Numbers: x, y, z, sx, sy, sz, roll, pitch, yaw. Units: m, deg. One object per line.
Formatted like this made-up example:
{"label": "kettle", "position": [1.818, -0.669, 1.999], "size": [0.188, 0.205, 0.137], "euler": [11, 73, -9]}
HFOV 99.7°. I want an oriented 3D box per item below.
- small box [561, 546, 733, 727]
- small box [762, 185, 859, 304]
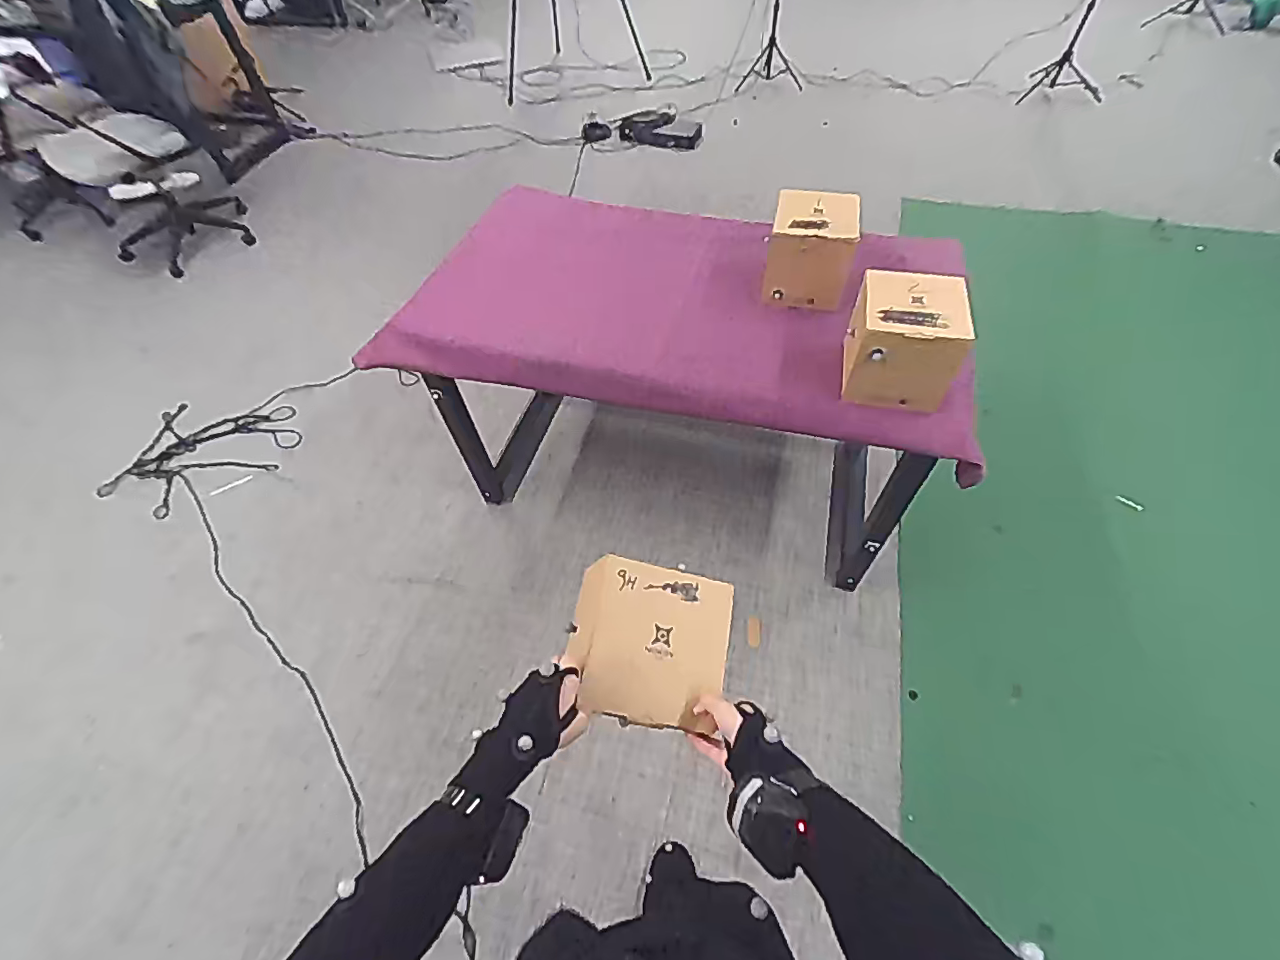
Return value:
{"label": "small box", "position": [0.000, 0.197, 0.696], "size": [0.168, 0.176, 0.179], "euler": [15, 72, -11]}
{"label": "small box", "position": [0.360, -0.499, 1.153], "size": [0.168, 0.176, 0.179], "euler": [10, 55, 10]}
